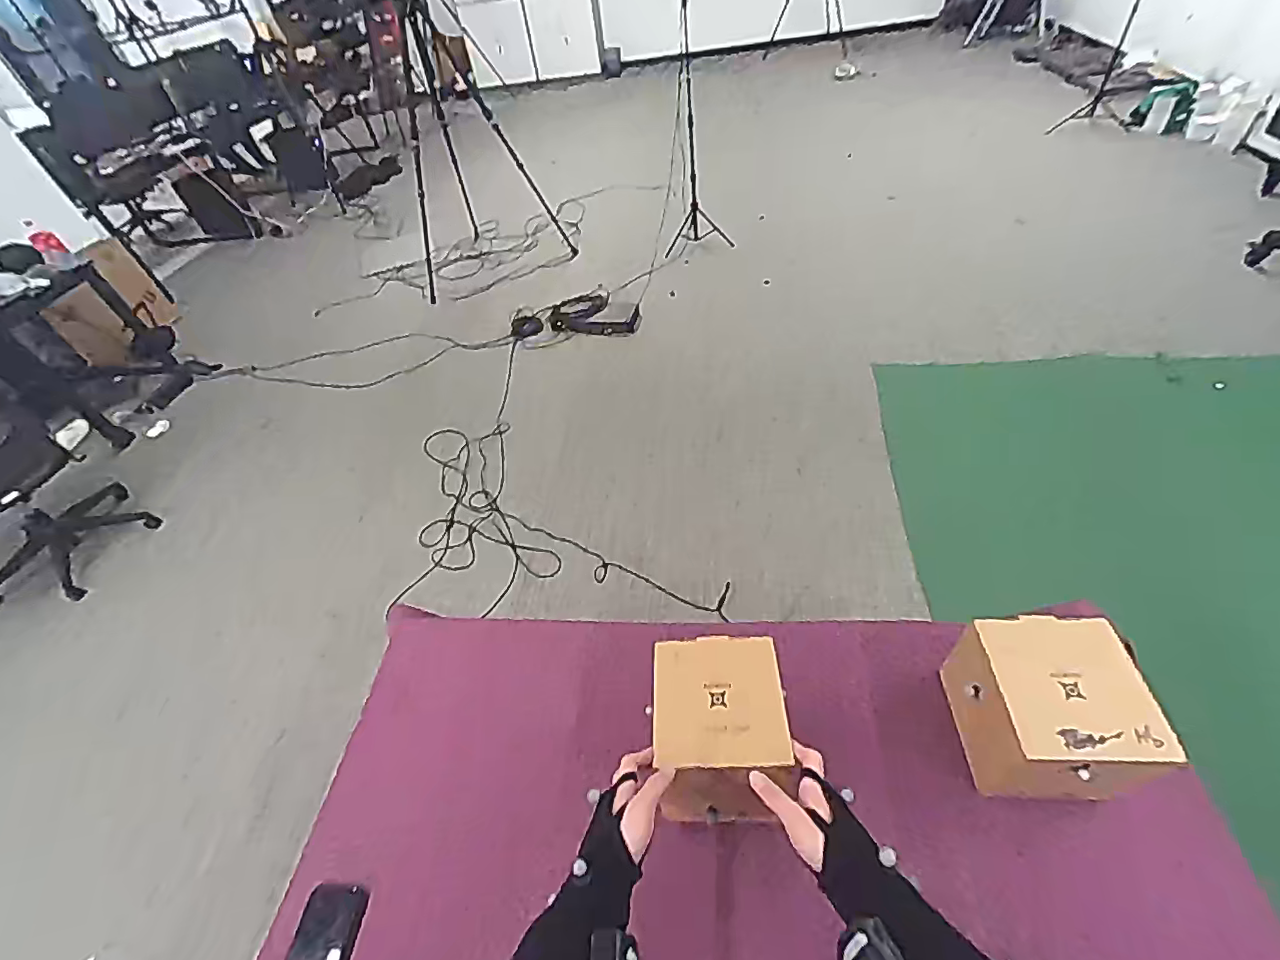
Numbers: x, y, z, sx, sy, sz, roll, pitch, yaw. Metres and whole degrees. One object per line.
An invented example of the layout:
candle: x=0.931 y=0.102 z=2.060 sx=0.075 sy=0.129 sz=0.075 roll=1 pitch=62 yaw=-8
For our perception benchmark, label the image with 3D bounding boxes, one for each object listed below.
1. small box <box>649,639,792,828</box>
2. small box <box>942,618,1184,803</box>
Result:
small box: x=0.103 y=0.337 z=0.729 sx=0.168 sy=0.176 sz=0.179 roll=-3 pitch=38 yaw=6
small box: x=0.524 y=0.300 z=0.710 sx=0.168 sy=0.176 sz=0.179 roll=-3 pitch=46 yaw=8
